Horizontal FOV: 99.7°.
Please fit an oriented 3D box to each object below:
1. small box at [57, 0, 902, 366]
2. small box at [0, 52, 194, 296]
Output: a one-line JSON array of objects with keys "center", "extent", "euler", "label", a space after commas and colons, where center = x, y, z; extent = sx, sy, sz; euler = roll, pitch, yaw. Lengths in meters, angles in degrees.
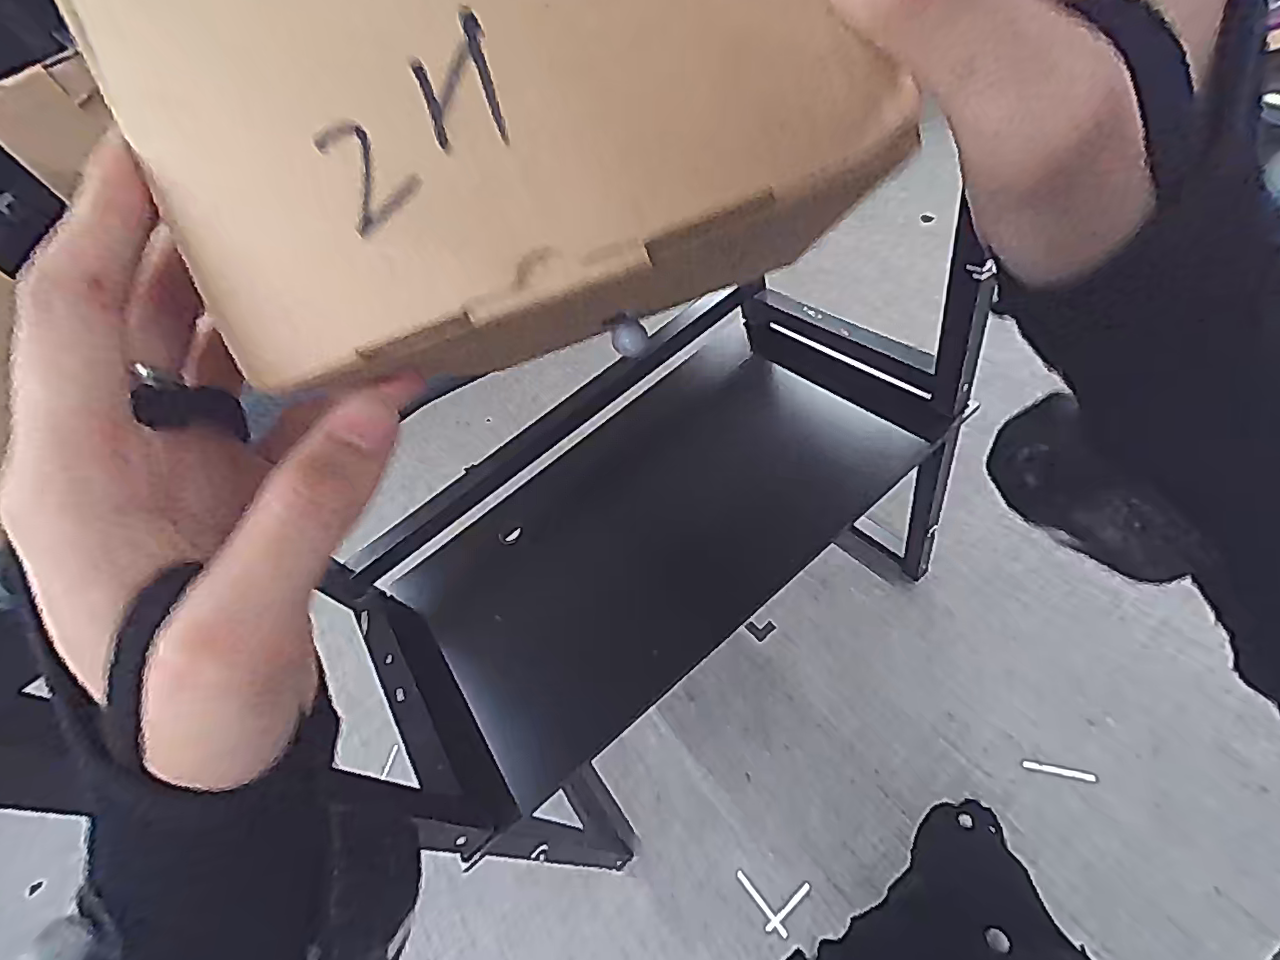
[{"center": [-0.042, -0.148, 0.183], "extent": [0.168, 0.179, 0.176], "euler": [-17, 11, 11], "label": "small box"}, {"center": [-0.439, -0.303, 0.511], "extent": [0.168, 0.176, 0.179], "euler": [-39, 49, -11], "label": "small box"}]
